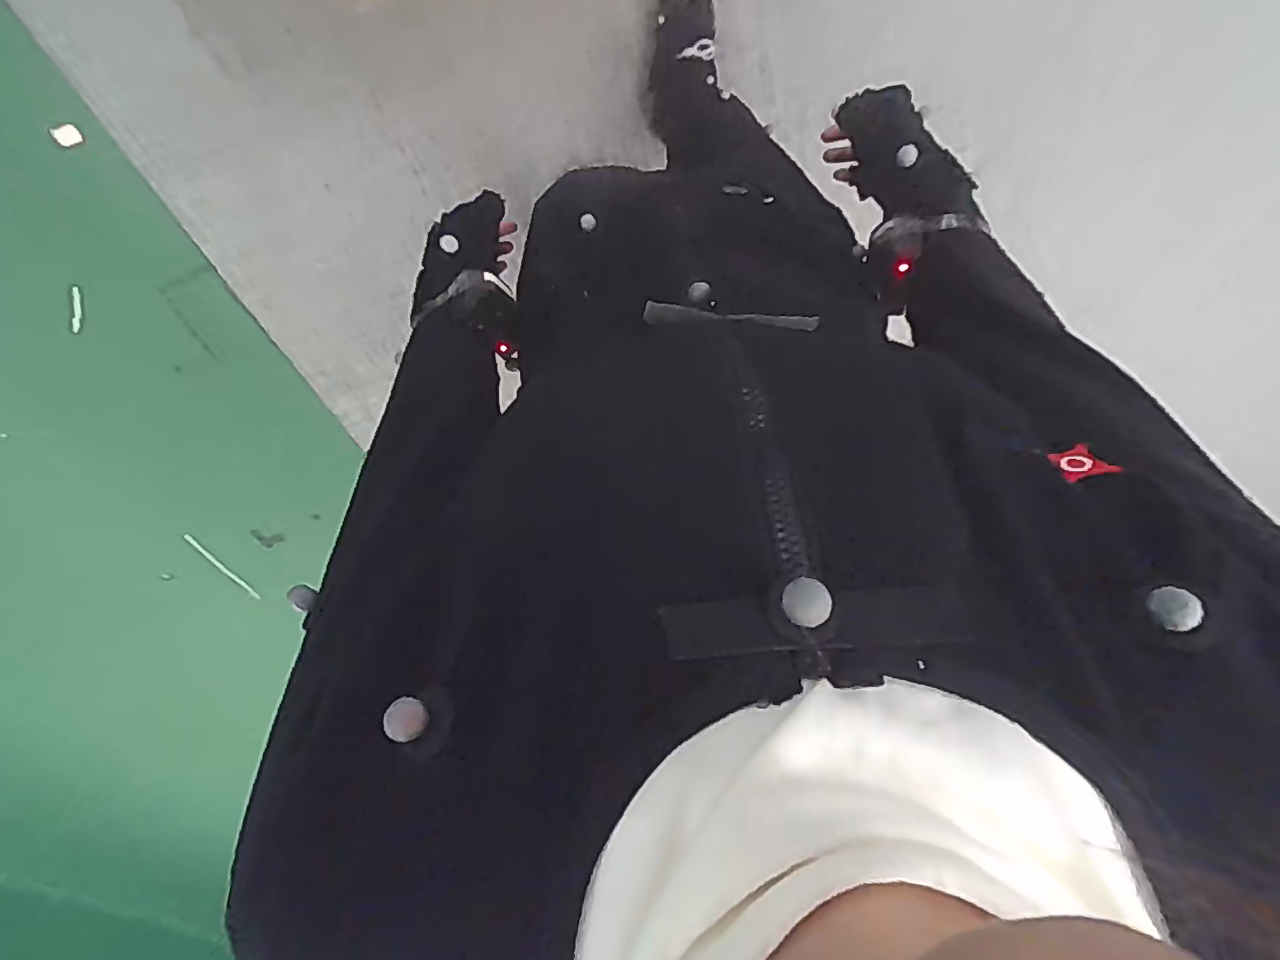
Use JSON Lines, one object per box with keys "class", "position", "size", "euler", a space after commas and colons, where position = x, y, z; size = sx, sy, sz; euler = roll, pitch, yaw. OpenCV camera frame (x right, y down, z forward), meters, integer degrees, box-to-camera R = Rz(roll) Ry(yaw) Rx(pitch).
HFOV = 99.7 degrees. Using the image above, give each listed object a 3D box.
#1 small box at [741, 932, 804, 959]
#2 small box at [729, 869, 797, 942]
{"class": "small box", "position": [0.421, 1.513, 1.652], "size": [0.168, 0.176, 0.179], "euler": [-18, 127, 8]}
{"class": "small box", "position": [0.404, 1.413, 1.782], "size": [0.168, 0.176, 0.179], "euler": [-19, 128, 7]}
